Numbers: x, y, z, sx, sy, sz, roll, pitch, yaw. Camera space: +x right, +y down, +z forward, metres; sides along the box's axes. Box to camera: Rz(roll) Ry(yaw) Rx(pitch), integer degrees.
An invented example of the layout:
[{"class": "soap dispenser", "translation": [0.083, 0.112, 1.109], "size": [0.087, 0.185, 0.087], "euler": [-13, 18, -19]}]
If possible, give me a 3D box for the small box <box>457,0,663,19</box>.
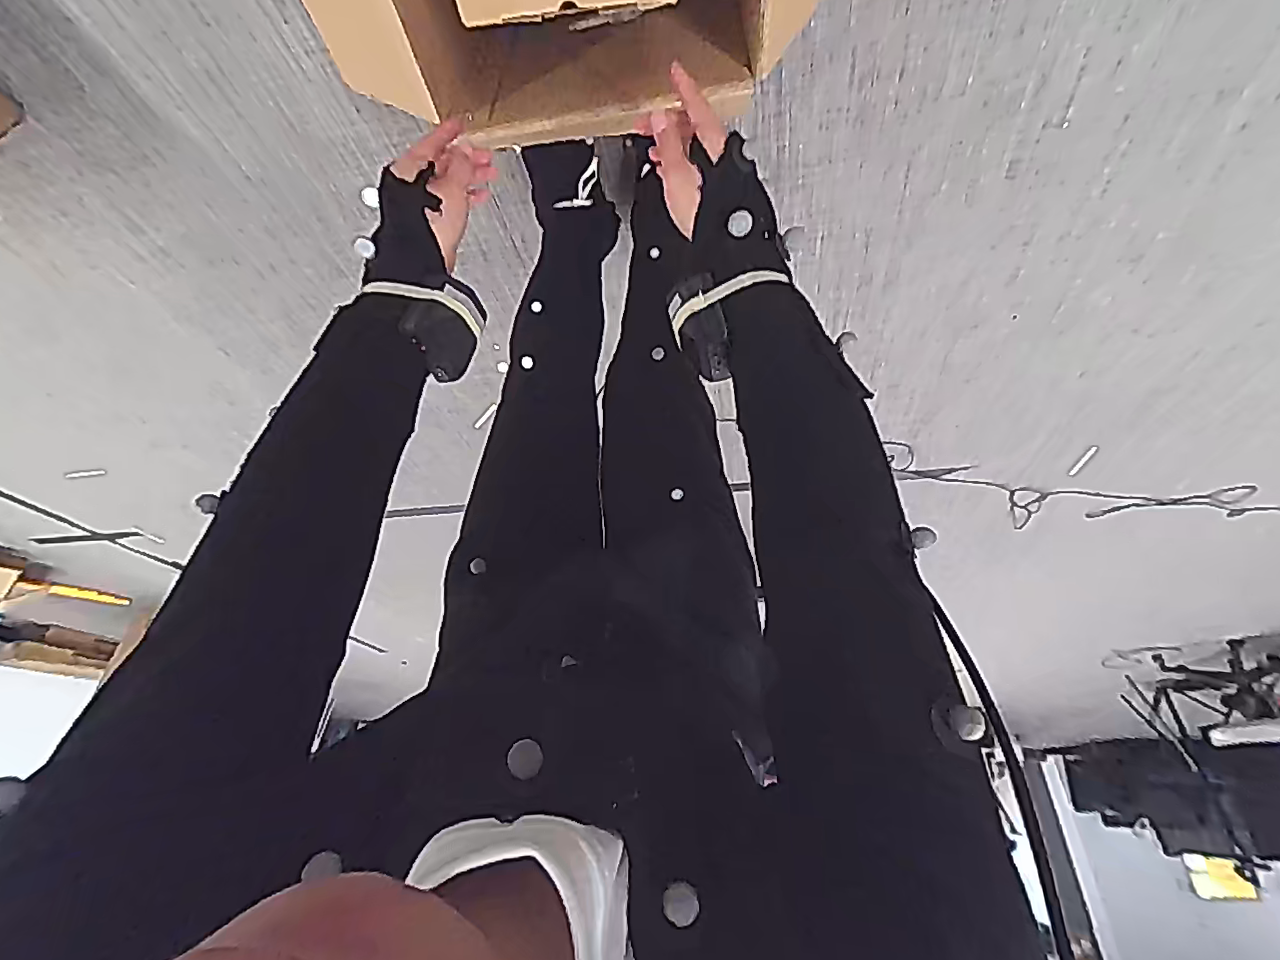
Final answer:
[{"class": "small box", "translation": [-0.062, -0.468, 0.379], "size": [0.168, 0.176, 0.179], "euler": [-4, 146, 3]}]
